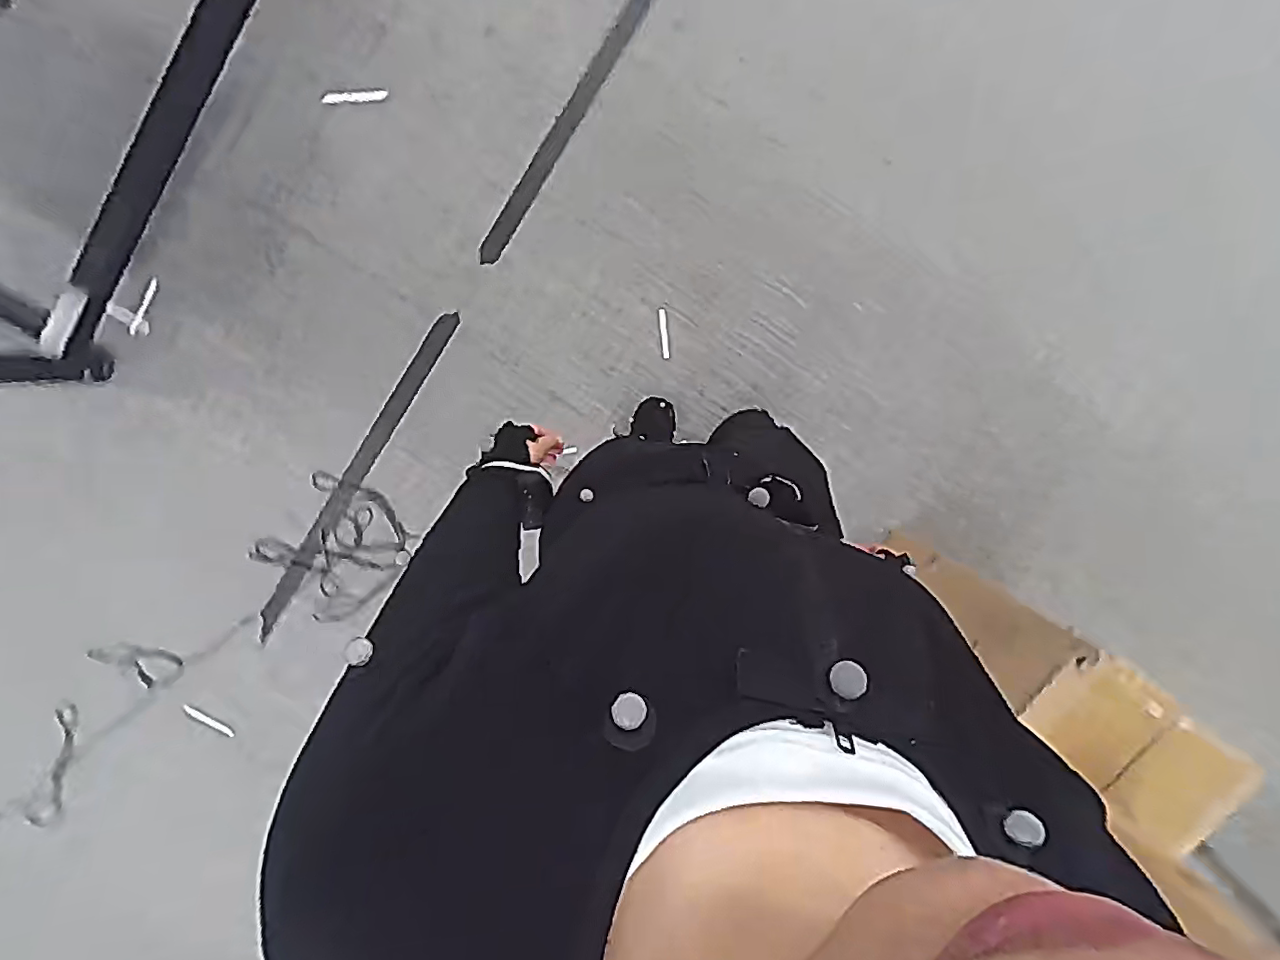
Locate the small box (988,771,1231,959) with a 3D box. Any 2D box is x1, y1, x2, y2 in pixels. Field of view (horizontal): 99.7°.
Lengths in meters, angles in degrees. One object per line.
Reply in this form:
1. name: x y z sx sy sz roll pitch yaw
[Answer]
1. small box: 0.669 0.578 0.796 0.168 0.176 0.179 35 99 -7
